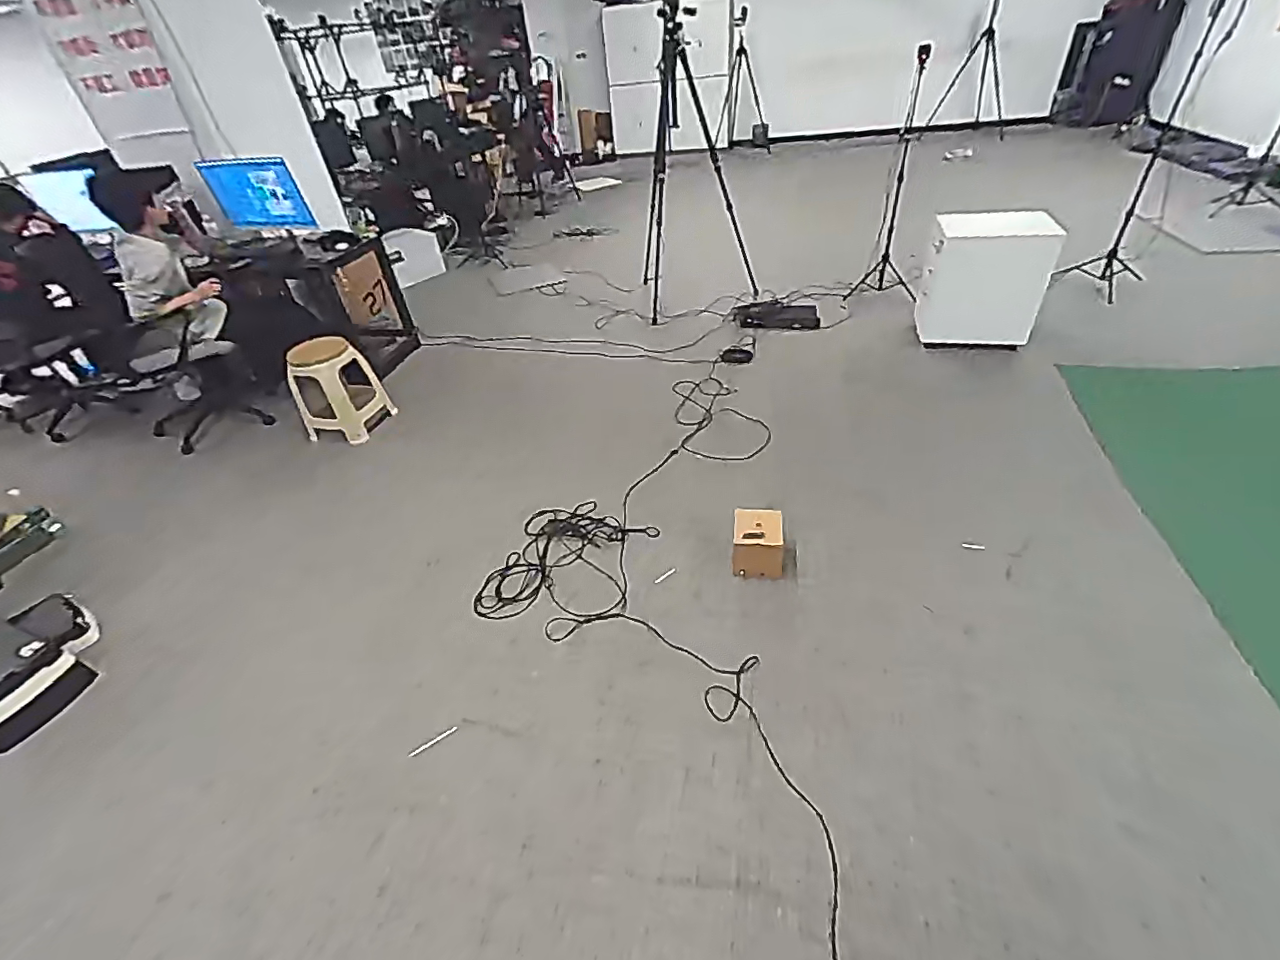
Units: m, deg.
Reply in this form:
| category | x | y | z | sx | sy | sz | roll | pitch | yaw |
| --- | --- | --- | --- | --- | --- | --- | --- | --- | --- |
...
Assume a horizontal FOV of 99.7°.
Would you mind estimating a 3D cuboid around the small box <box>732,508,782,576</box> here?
| category | x | y | z | sx | sy | sz | roll | pitch | yaw |
| --- | --- | --- | --- | --- | --- | --- | --- | --- | --- |
| small box | 0.414 | 0.219 | 1.907 | 0.168 | 0.176 | 0.179 | 2 | 40 | 11 |
